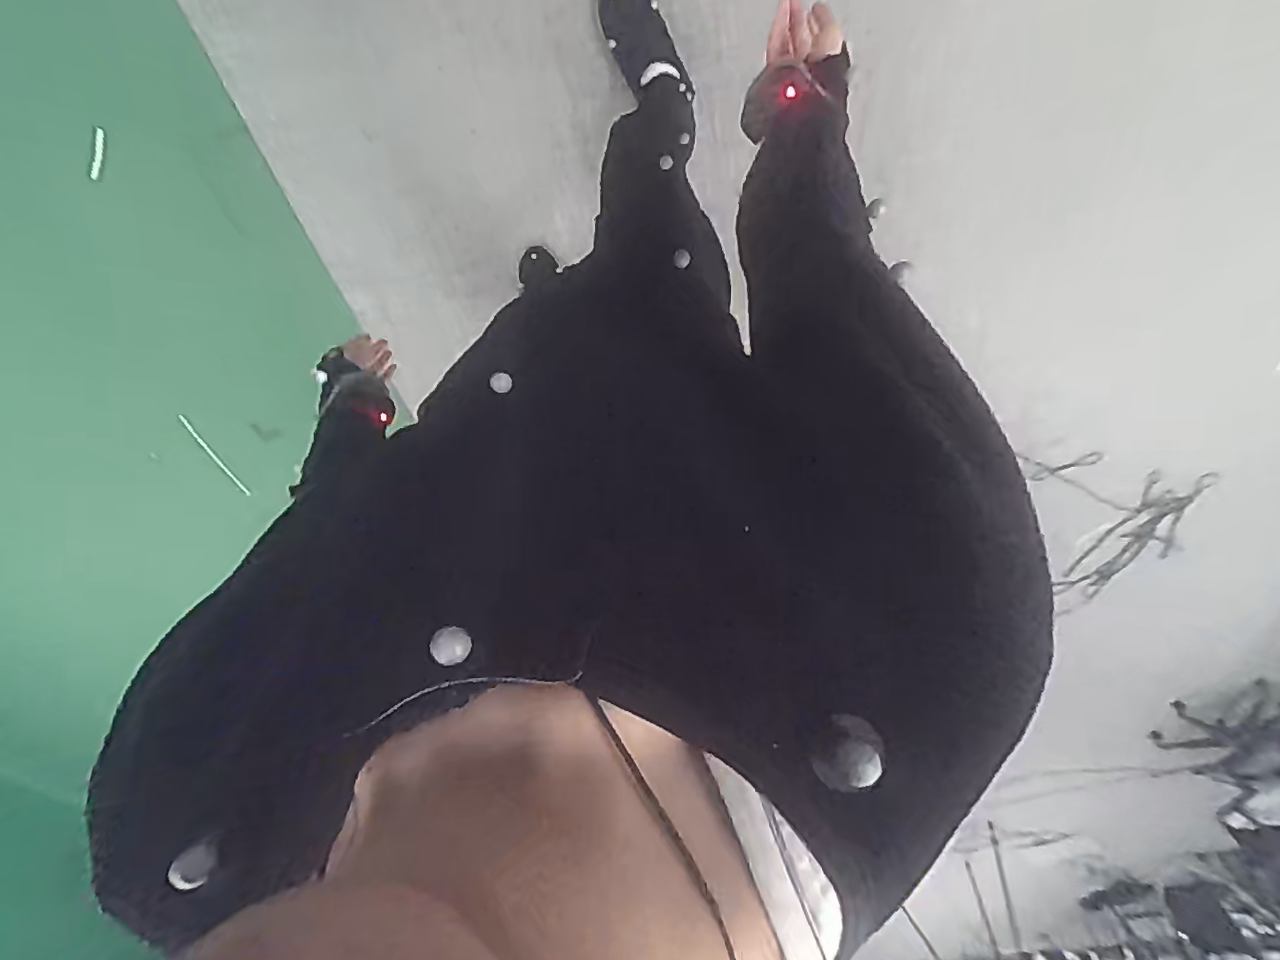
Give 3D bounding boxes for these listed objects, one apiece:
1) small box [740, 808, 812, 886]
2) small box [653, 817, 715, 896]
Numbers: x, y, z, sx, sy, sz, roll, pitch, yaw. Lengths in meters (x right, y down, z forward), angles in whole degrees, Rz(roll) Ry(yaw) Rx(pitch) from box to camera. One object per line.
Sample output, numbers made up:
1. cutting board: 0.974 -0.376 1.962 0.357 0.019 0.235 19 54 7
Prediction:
1. small box: 0.425 1.162 1.719 0.168 0.176 0.179 0 131 -4
2. small box: 0.140 1.213 1.744 0.168 0.176 0.179 -12 129 7
